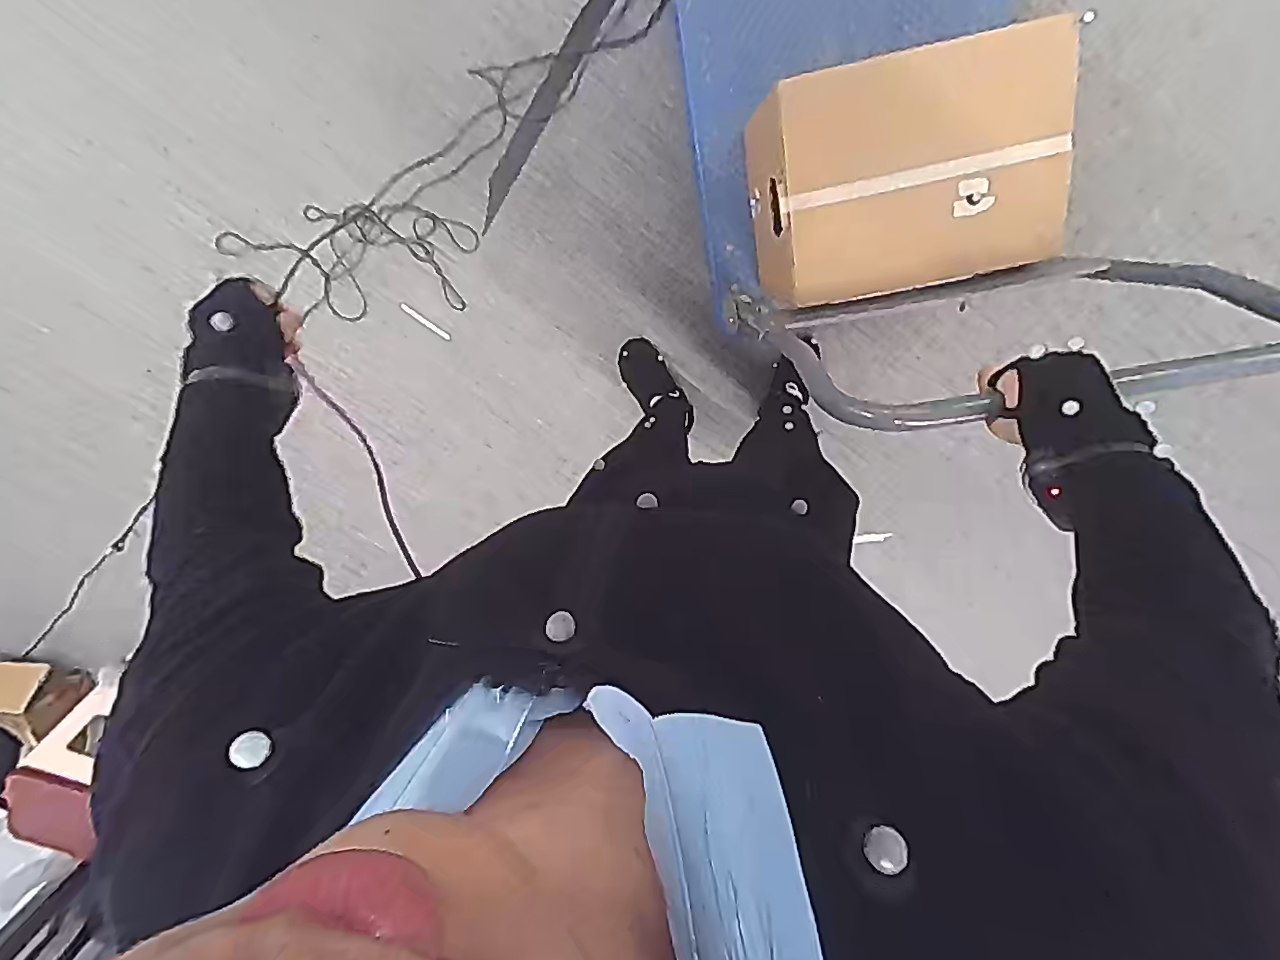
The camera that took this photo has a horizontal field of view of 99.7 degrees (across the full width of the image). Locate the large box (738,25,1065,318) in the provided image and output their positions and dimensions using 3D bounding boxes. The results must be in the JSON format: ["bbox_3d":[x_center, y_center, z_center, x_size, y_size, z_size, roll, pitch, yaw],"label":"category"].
[{"bbox_3d":[0.408,-0.489,0.933,0.408,0.320,0.320,-10,112,5],"label":"large box"}]
